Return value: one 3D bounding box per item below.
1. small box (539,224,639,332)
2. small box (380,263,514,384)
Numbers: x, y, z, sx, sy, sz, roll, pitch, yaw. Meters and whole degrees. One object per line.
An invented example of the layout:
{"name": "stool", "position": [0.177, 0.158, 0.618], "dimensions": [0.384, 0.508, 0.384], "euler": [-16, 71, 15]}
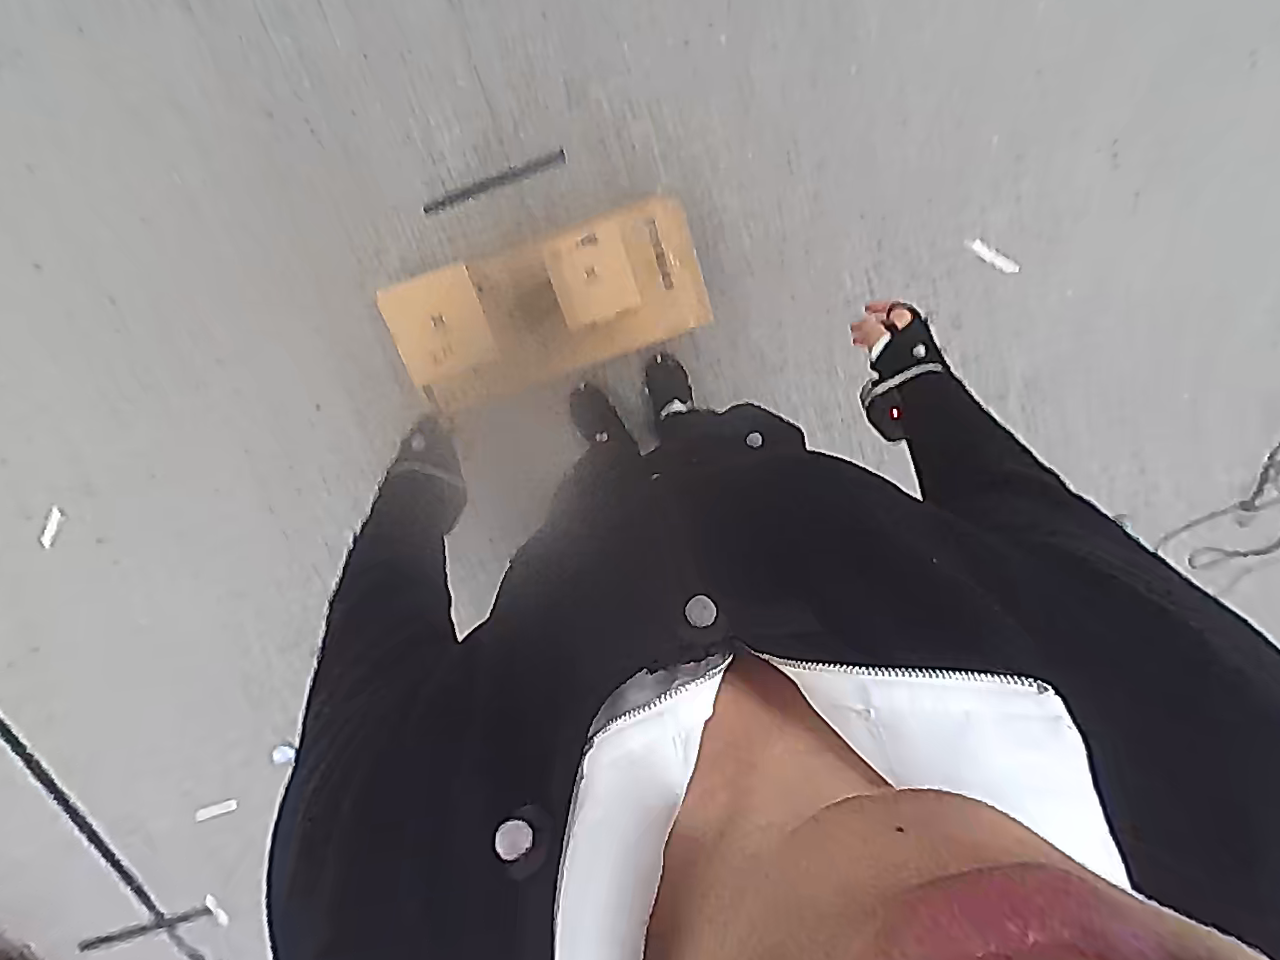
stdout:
{"name": "small box", "position": [-0.102, -0.439, 1.189], "dimensions": [0.168, 0.176, 0.179], "euler": [-17, 106, 5]}
{"name": "small box", "position": [-0.360, -0.298, 1.045], "dimensions": [0.168, 0.176, 0.179], "euler": [-18, 106, 2]}
